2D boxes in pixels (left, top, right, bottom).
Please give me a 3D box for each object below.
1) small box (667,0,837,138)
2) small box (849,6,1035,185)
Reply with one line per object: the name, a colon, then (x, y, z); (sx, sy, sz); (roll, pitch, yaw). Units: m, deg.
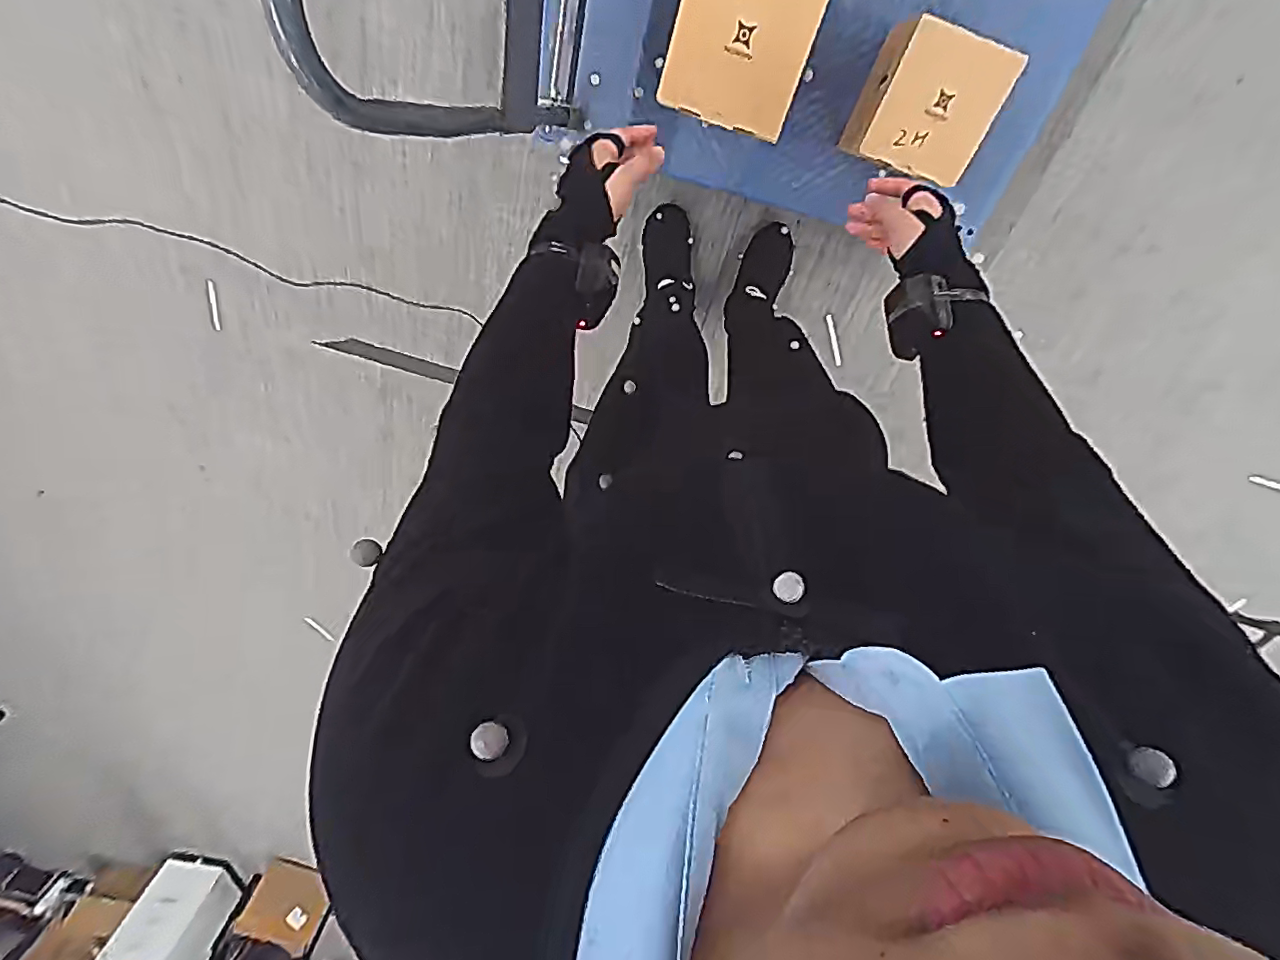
small box: (0.139, -0.576, 0.706); (0.168, 0.176, 0.179); (16, 125, -4)
small box: (0.454, -0.594, 0.852); (0.168, 0.176, 0.179); (18, 124, -5)
